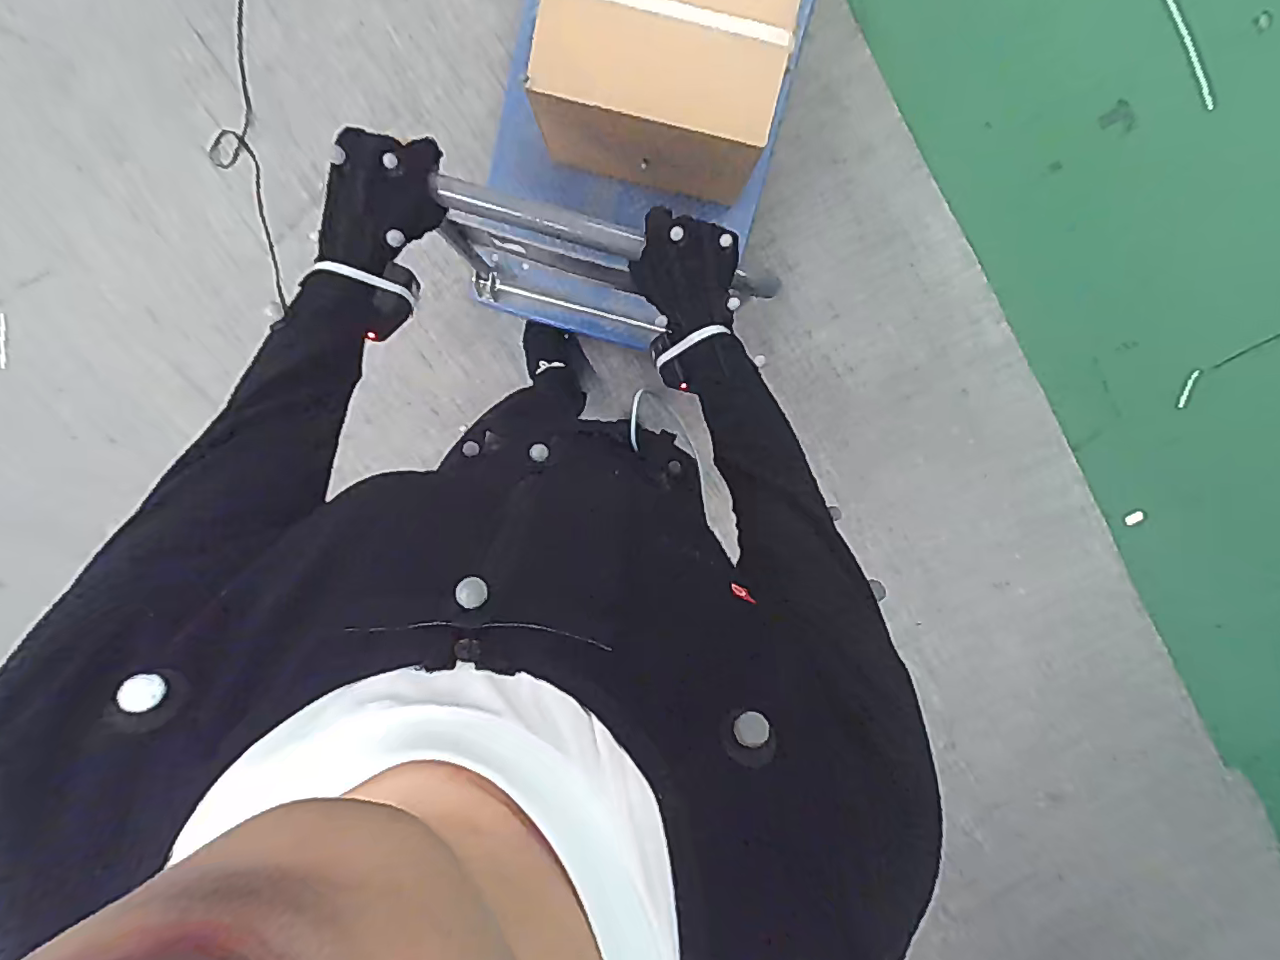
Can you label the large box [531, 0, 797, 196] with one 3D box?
[{"bbox_3d":[0.046,-0.773,1.008,0.408,0.320,0.320,12,100,-2],"label":"large box"}]
